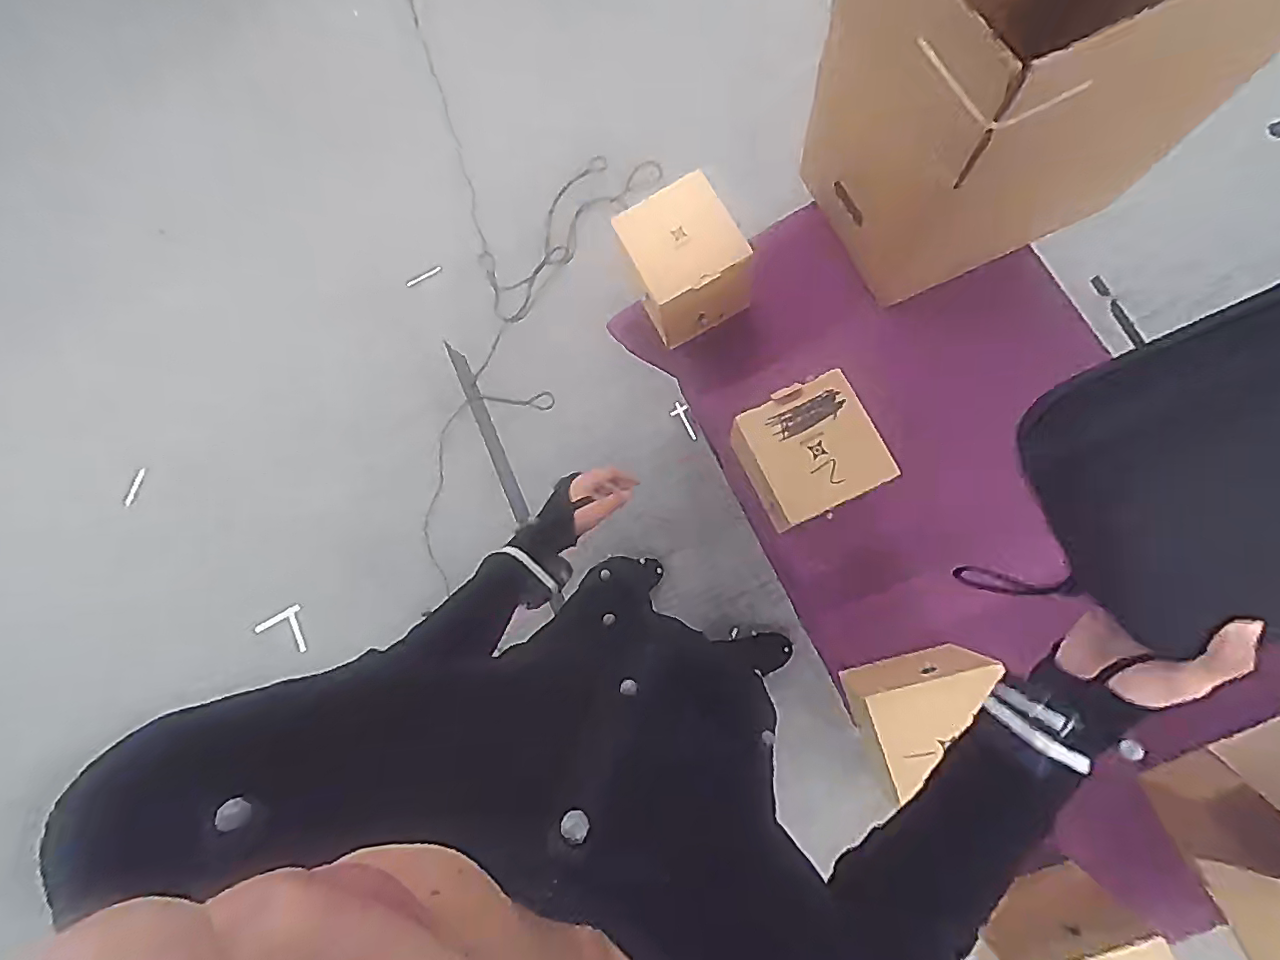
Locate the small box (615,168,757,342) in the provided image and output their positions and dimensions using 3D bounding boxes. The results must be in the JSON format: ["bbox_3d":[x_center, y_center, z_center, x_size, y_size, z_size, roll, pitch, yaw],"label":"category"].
[{"bbox_3d":[0.077,-0.366,0.911,0.168,0.176,0.179,-29,79,3],"label":"small box"}]

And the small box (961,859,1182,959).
[{"bbox_3d":[0.552,0.621,0.679,0.179,0.176,0.168,-21,77,4],"label":"small box"}]
